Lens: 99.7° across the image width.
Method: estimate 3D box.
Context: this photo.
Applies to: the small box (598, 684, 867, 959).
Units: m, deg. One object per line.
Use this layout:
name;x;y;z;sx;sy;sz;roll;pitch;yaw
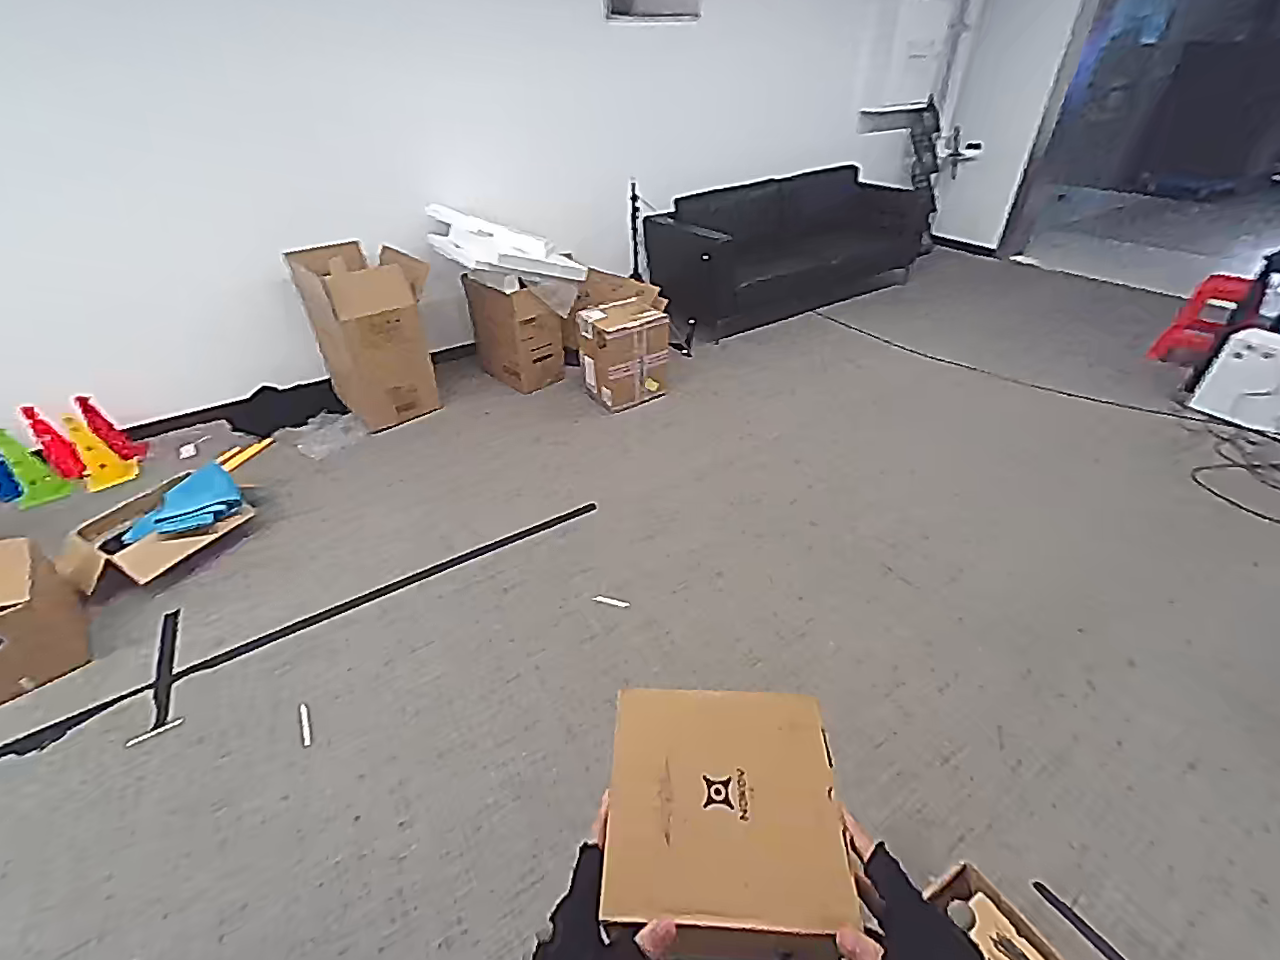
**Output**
small box;0.066;0.293;0.459;0.179;0.176;0.168;-2;40;4
